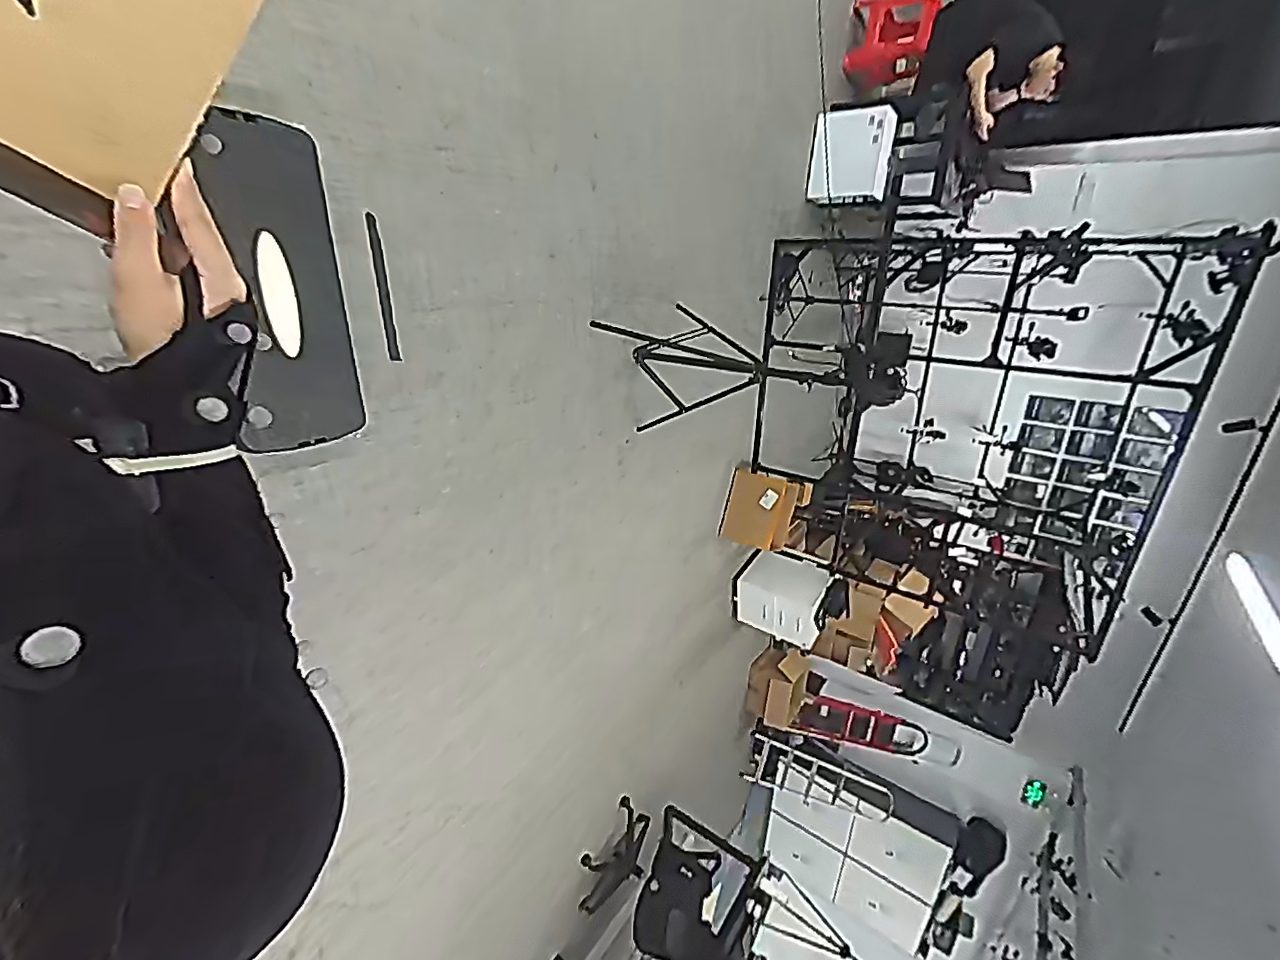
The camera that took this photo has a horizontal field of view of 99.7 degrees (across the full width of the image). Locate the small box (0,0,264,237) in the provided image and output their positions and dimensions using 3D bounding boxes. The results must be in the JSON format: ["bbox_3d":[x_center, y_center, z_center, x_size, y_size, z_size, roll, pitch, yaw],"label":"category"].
[{"bbox_3d":[-0.371,-0.275,0.326,0.168,0.176,0.179,29,78,-48],"label":"small box"}]
